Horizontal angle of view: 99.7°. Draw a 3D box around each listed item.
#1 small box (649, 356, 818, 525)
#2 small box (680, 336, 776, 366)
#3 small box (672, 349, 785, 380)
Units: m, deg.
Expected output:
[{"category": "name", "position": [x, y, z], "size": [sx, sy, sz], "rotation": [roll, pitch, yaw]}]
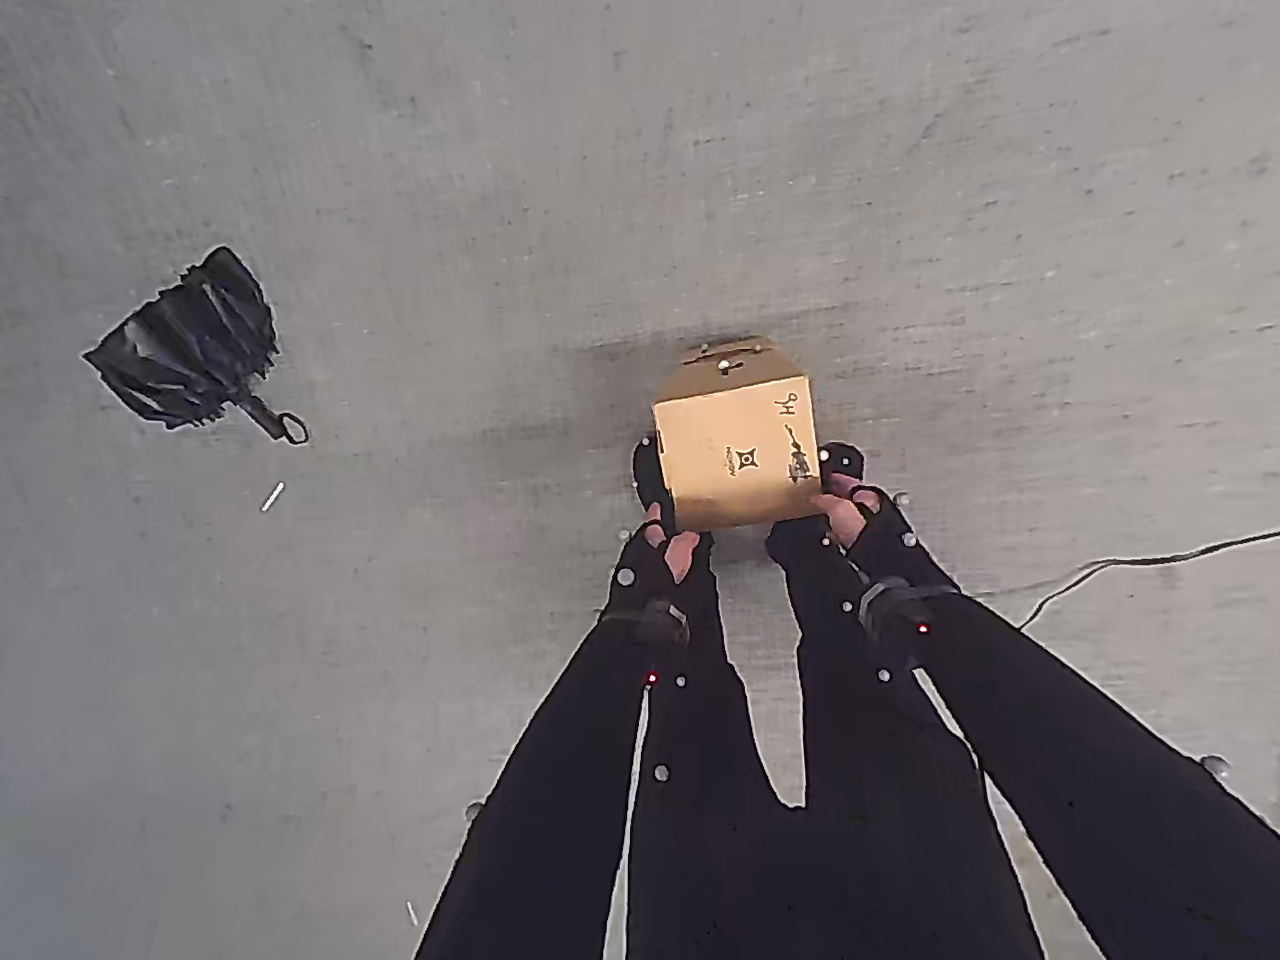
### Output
[{"category": "small box", "position": [0.123, -0.057, 0.703], "size": [0.179, 0.176, 0.168], "rotation": [-9, 108, 12]}, {"category": "small box", "position": [0.170, -0.166, 1.008], "size": [0.168, 0.176, 0.179], "rotation": [-9, 109, 11]}, {"category": "small box", "position": [0.148, -0.105, 0.857], "size": [0.168, 0.176, 0.179], "rotation": [-9, 108, 11]}]
